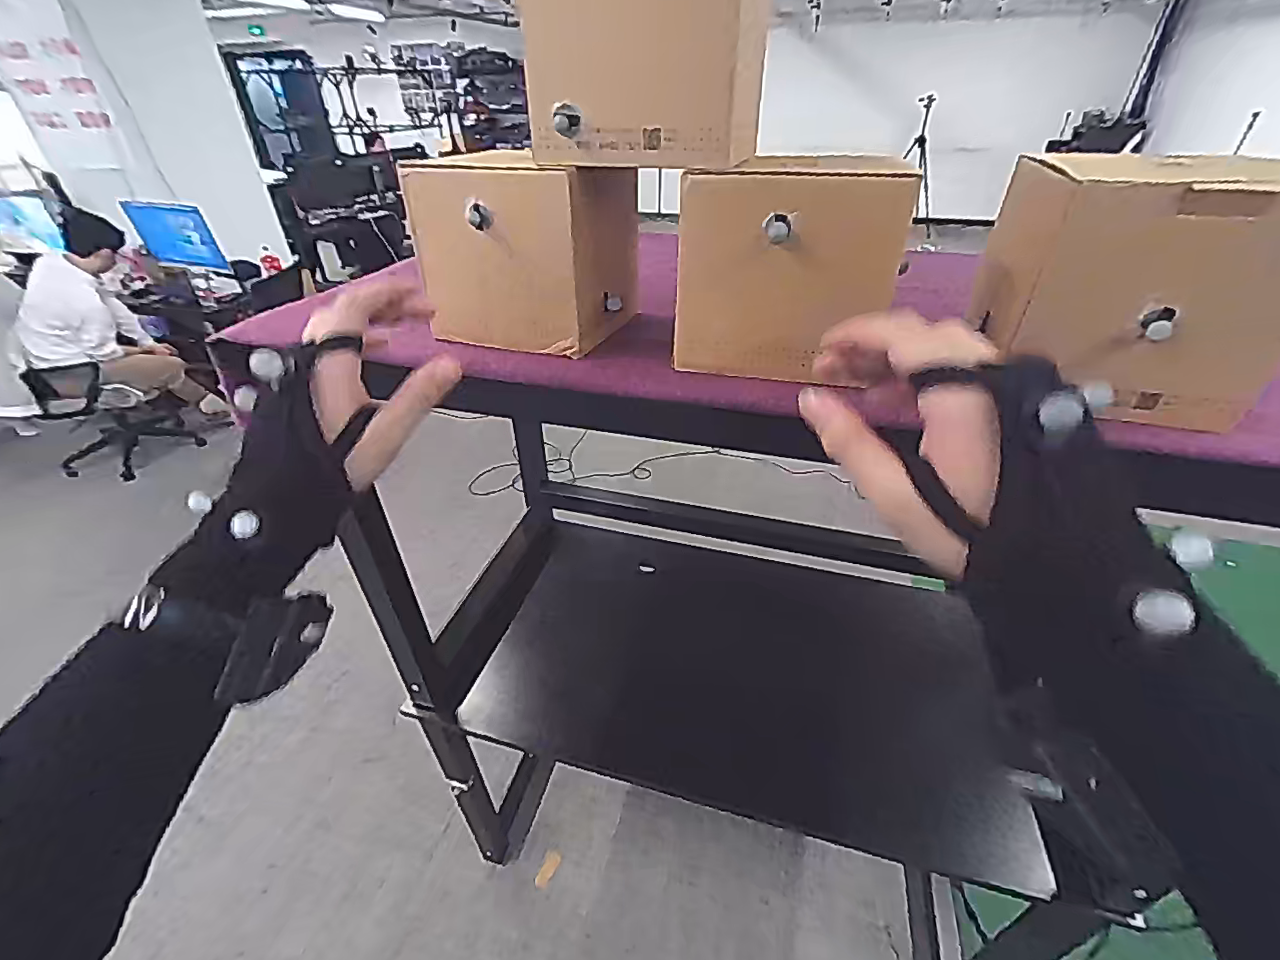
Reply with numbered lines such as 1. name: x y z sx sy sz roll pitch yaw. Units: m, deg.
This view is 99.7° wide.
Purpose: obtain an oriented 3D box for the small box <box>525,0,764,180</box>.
1. small box: 0.014 -0.363 0.471 0.168 0.176 0.179 10 34 14

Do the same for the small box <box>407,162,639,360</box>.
1. small box: -0.110 -0.240 0.582 0.179 0.176 0.168 12 36 17

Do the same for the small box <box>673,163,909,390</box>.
1. small box: 0.135 -0.199 0.521 0.179 0.176 0.168 9 35 13
